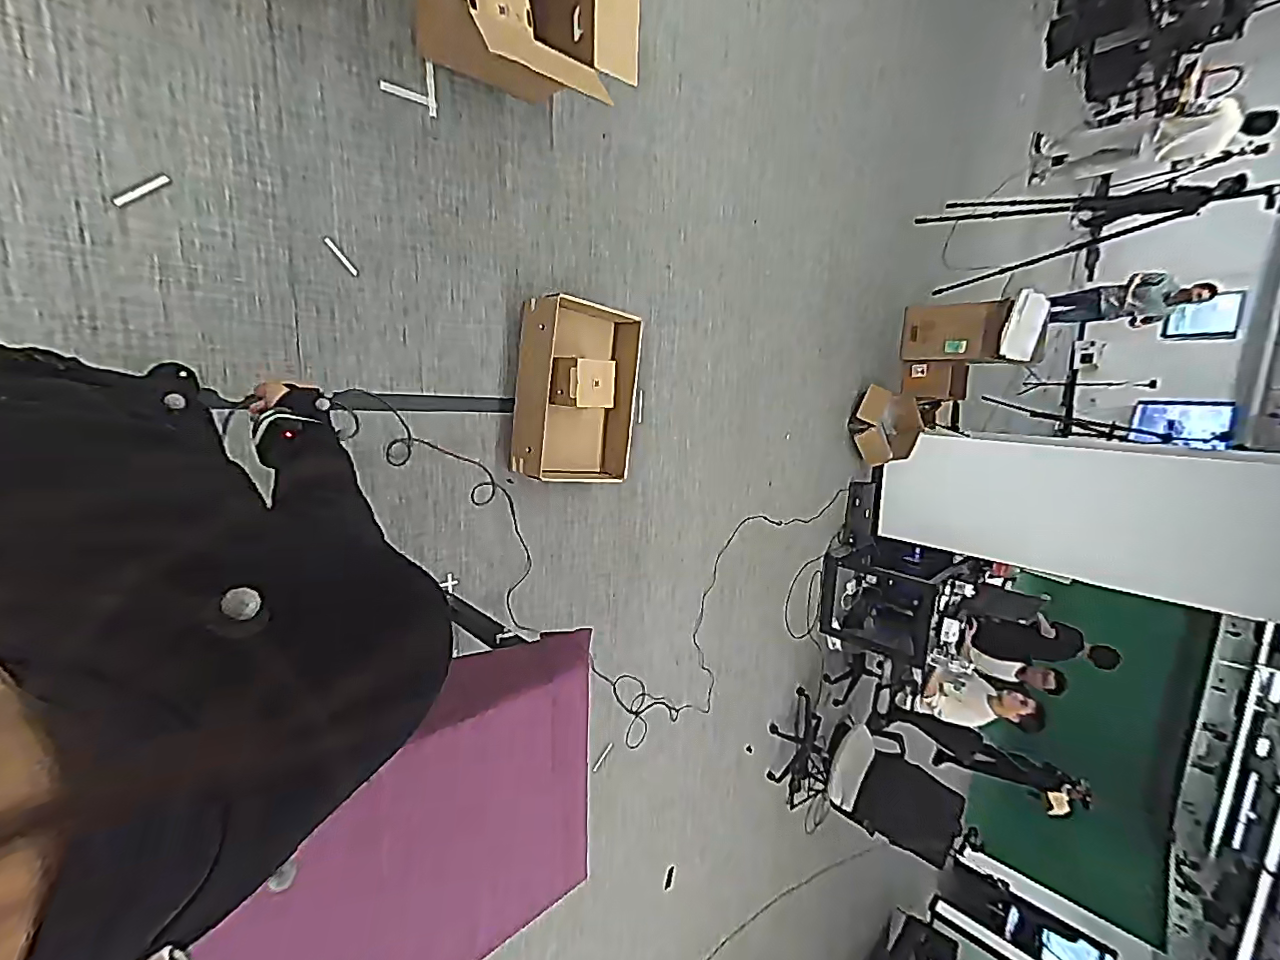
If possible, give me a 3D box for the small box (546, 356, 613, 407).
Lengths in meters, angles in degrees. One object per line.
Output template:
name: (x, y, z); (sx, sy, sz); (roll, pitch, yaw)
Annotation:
small box: (-0.218, -0.347, 1.912); (0.179, 0.176, 0.168); (-7, 105, -45)
